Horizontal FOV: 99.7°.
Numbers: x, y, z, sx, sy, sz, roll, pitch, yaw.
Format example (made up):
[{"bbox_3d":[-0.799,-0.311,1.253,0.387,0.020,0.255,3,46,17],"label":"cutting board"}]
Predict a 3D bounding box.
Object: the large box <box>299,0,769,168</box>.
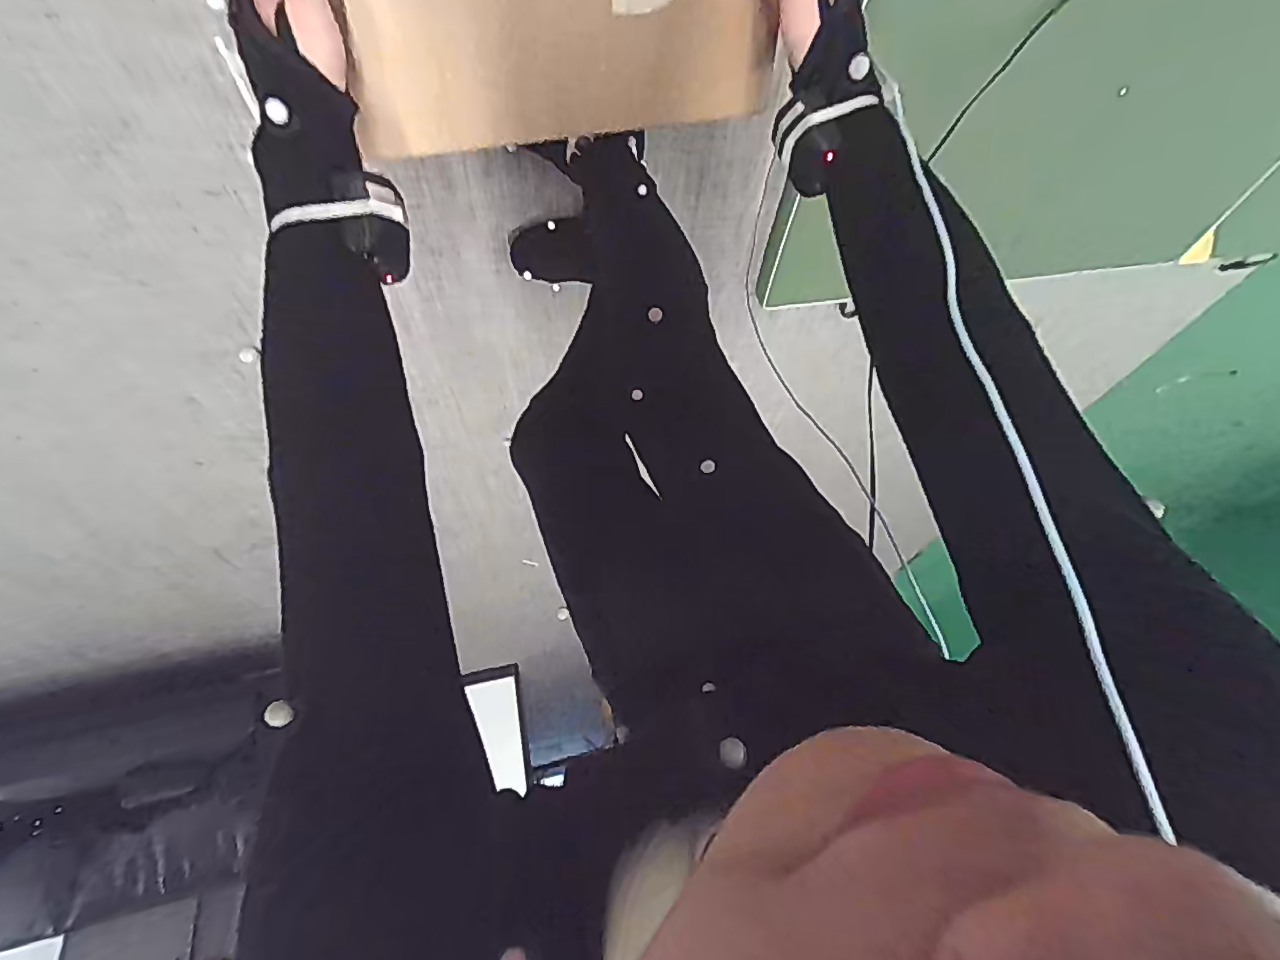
[{"bbox_3d":[-0.122,-0.534,0.510,0.408,0.320,0.320,-16,138,-13],"label":"large box"}]
